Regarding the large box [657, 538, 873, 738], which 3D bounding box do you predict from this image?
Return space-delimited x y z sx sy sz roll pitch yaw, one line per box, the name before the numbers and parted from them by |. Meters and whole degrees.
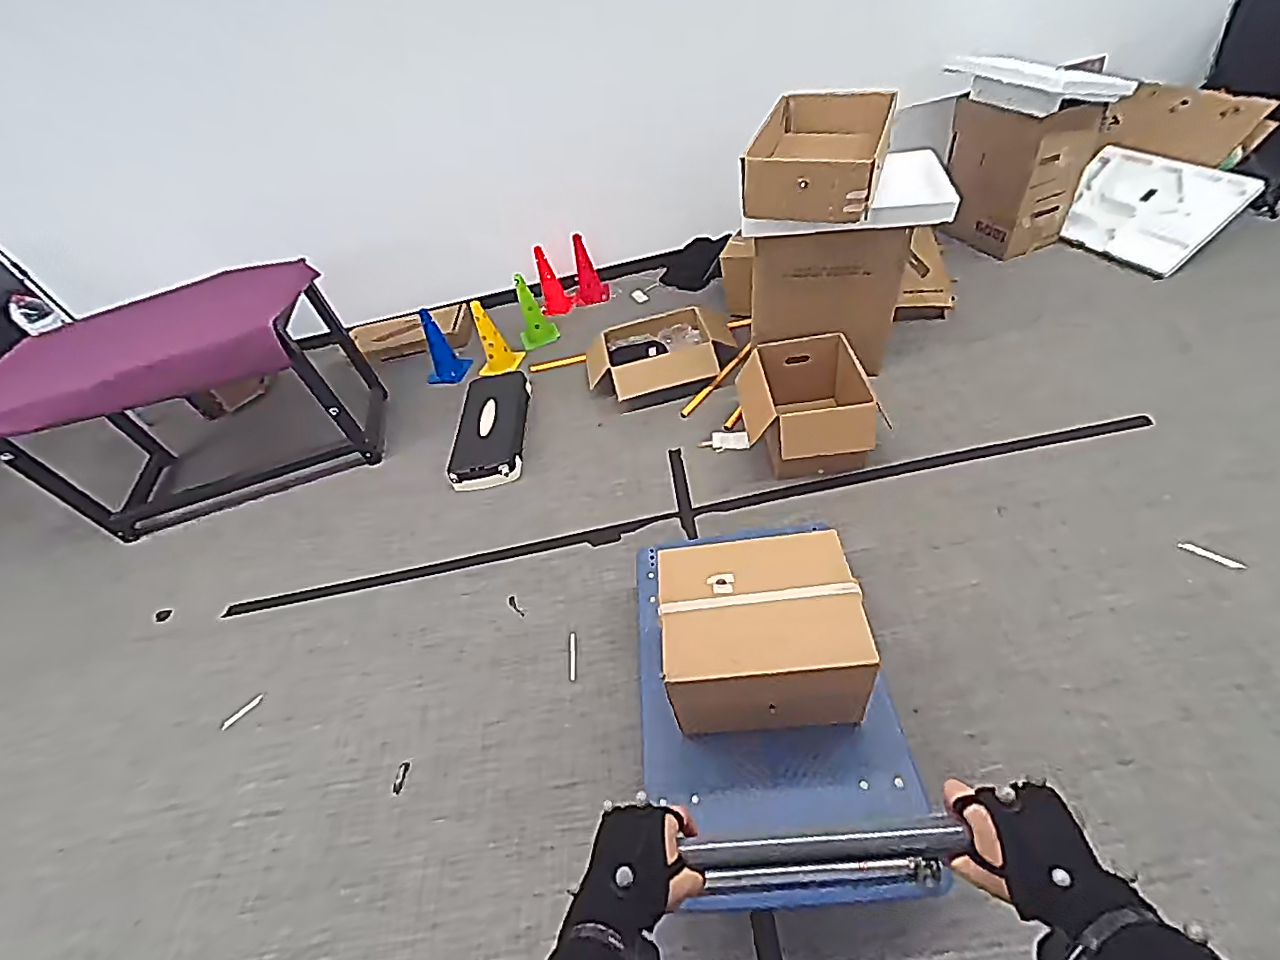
large box | 0.269 0.371 1.243 0.408 0.320 0.320 -9 45 7
